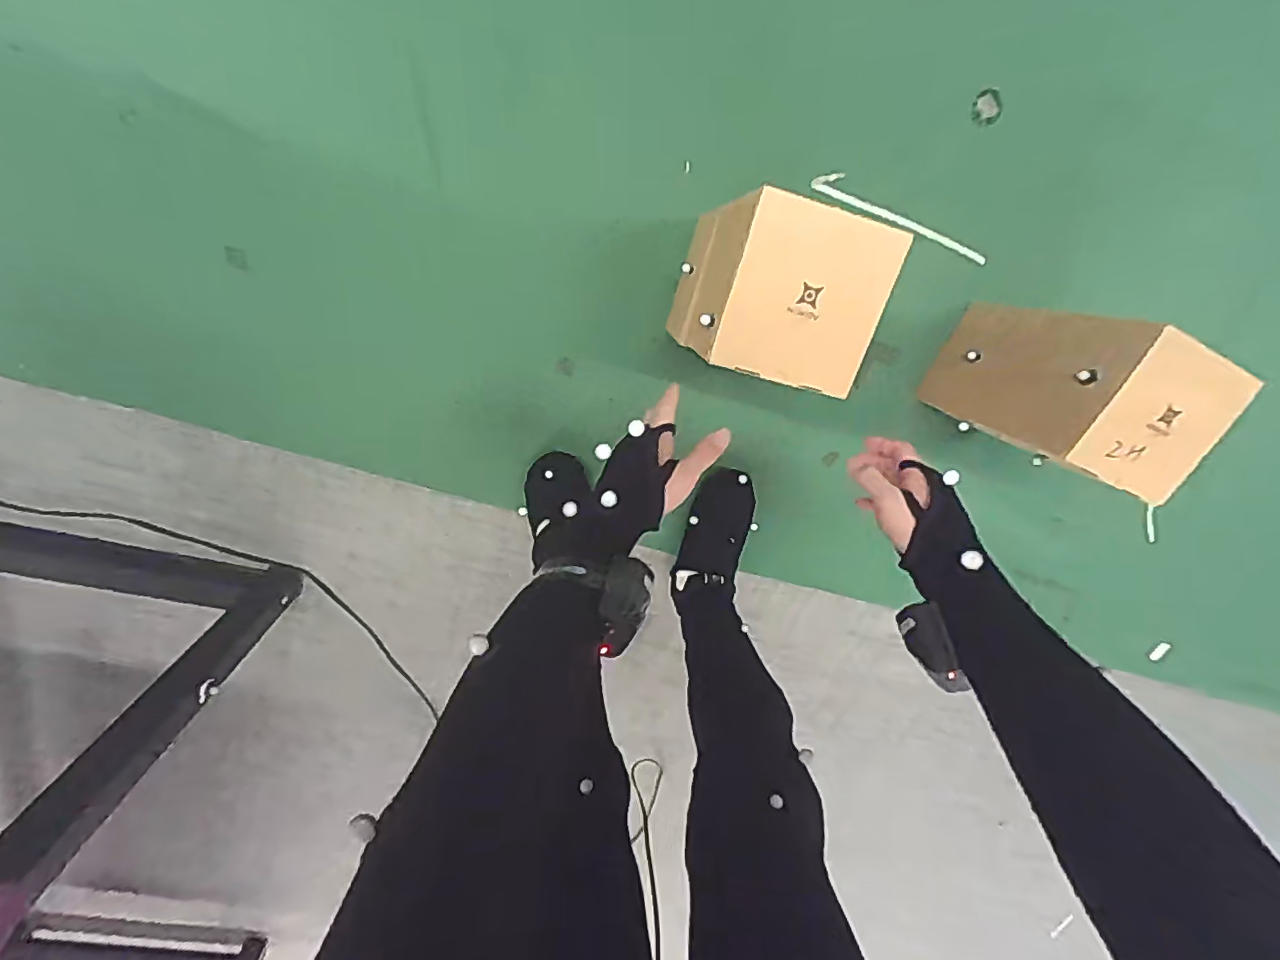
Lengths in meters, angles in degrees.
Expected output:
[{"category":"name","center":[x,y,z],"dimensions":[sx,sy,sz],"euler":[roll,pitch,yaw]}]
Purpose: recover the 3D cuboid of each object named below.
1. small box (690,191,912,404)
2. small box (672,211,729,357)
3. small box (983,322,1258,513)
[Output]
[{"category":"small box","center":[0.167,-0.209,0.629],"dimensions":[0.168,0.176,0.179],"euler":[13,111,-10]},{"category":"small box","center":[0.150,-0.264,0.781],"dimensions":[0.168,0.176,0.179],"euler":[14,110,-10]},{"category":"small box","center":[0.604,-0.091,0.709],"dimensions":[0.168,0.176,0.179],"euler":[23,109,-13]}]
